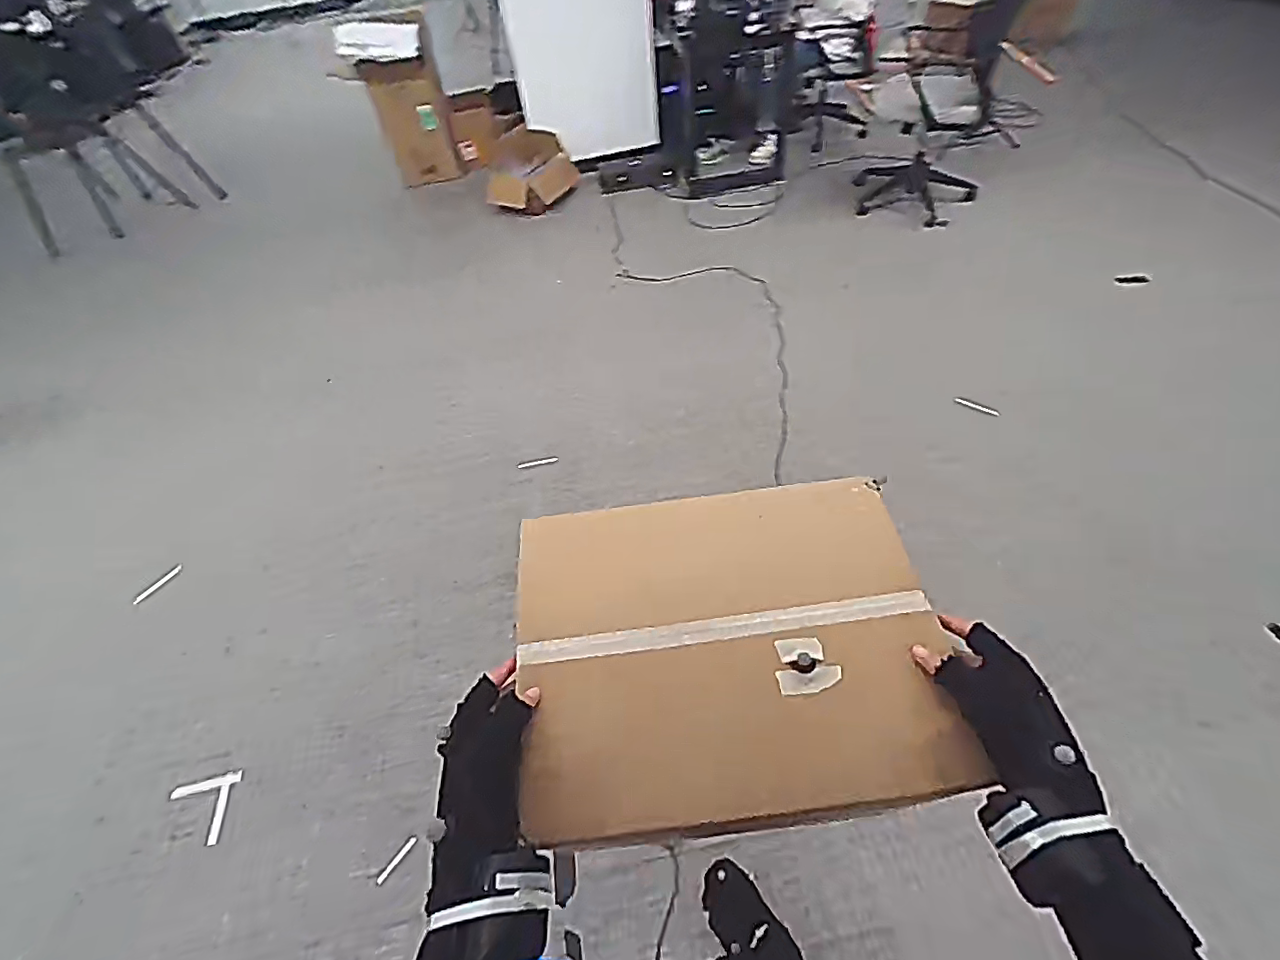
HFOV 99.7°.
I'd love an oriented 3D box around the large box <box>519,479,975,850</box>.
[{"bbox_3d":[0.084,0.236,0.665,0.408,0.320,0.320,-8,54,-1],"label":"large box"}]
